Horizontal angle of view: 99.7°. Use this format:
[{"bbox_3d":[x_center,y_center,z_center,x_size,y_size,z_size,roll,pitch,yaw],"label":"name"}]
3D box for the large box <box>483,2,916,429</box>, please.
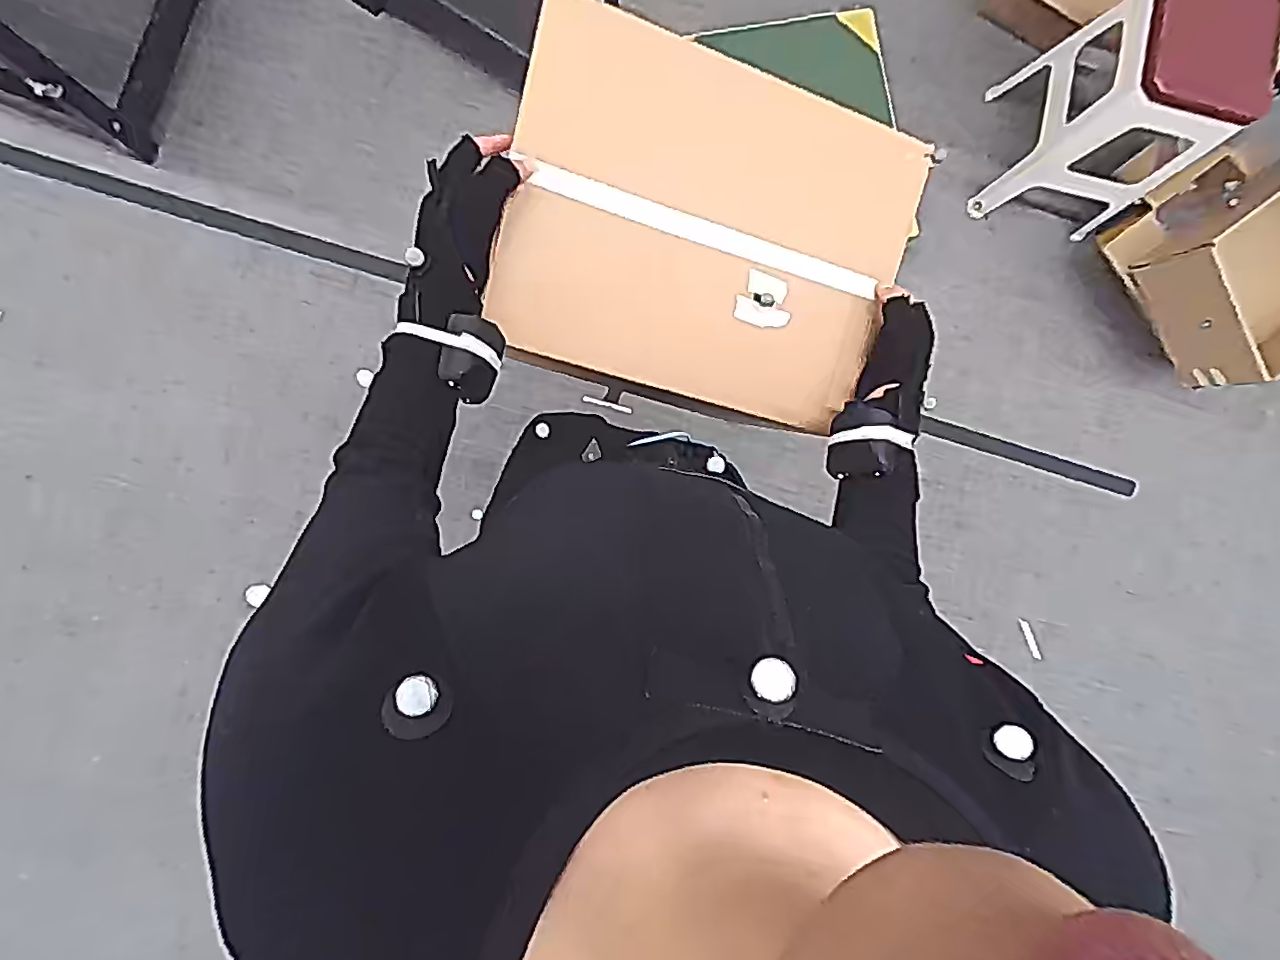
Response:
[{"bbox_3d":[0.041,-0.271,0.692,0.408,0.320,0.320,14,98,-13],"label":"large box"}]
